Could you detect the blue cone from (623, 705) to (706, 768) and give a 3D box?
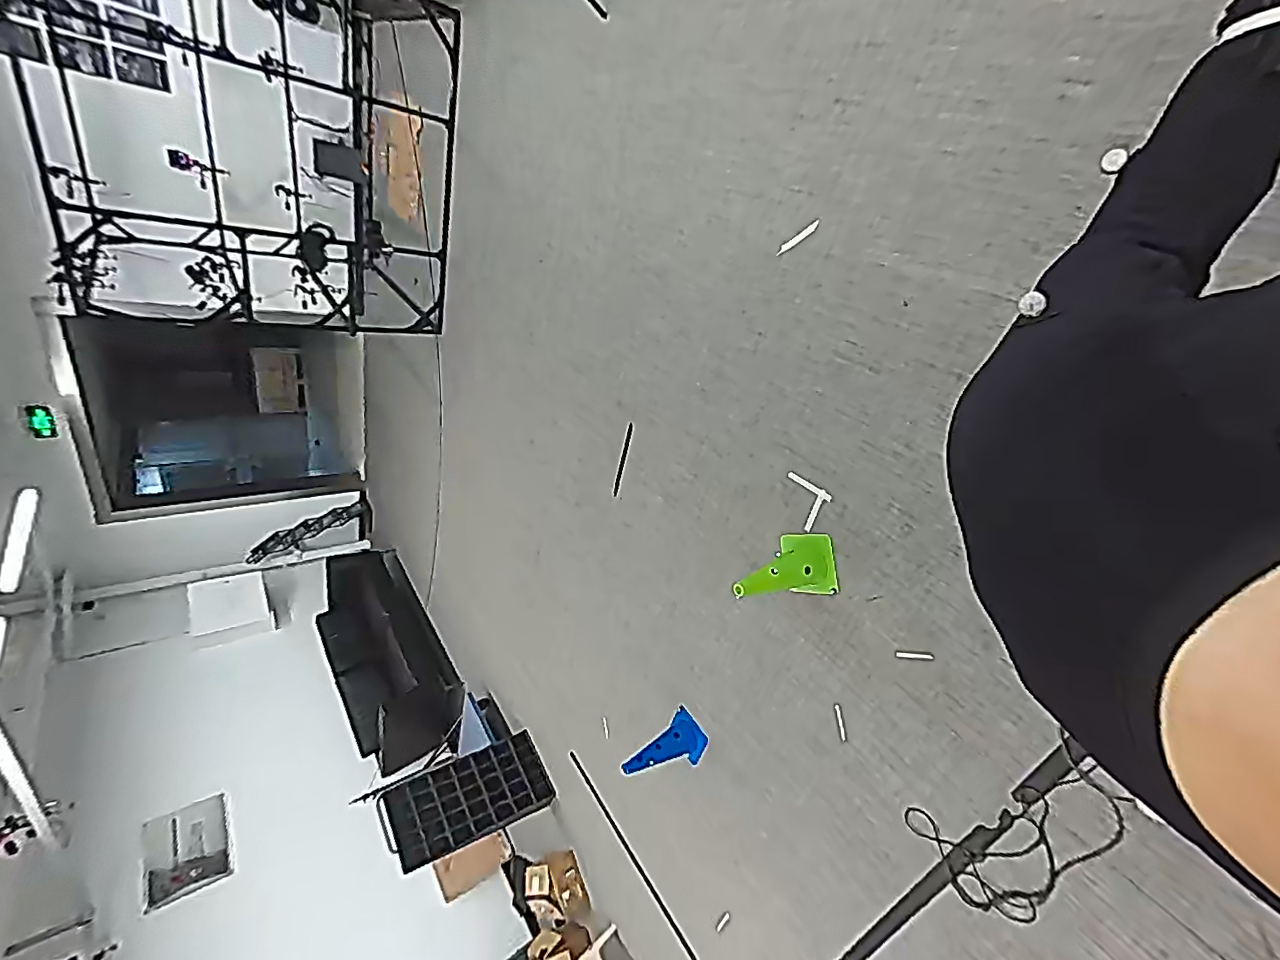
[{"bbox_3d":[0.090,1.164,2.349,0.192,0.380,0.193,46,130,38],"label":"blue cone"}]

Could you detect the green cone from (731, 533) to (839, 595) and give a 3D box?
[{"bbox_3d":[0.430,0.296,1.707,0.202,0.368,0.200,-10,88,54],"label":"green cone"}]
